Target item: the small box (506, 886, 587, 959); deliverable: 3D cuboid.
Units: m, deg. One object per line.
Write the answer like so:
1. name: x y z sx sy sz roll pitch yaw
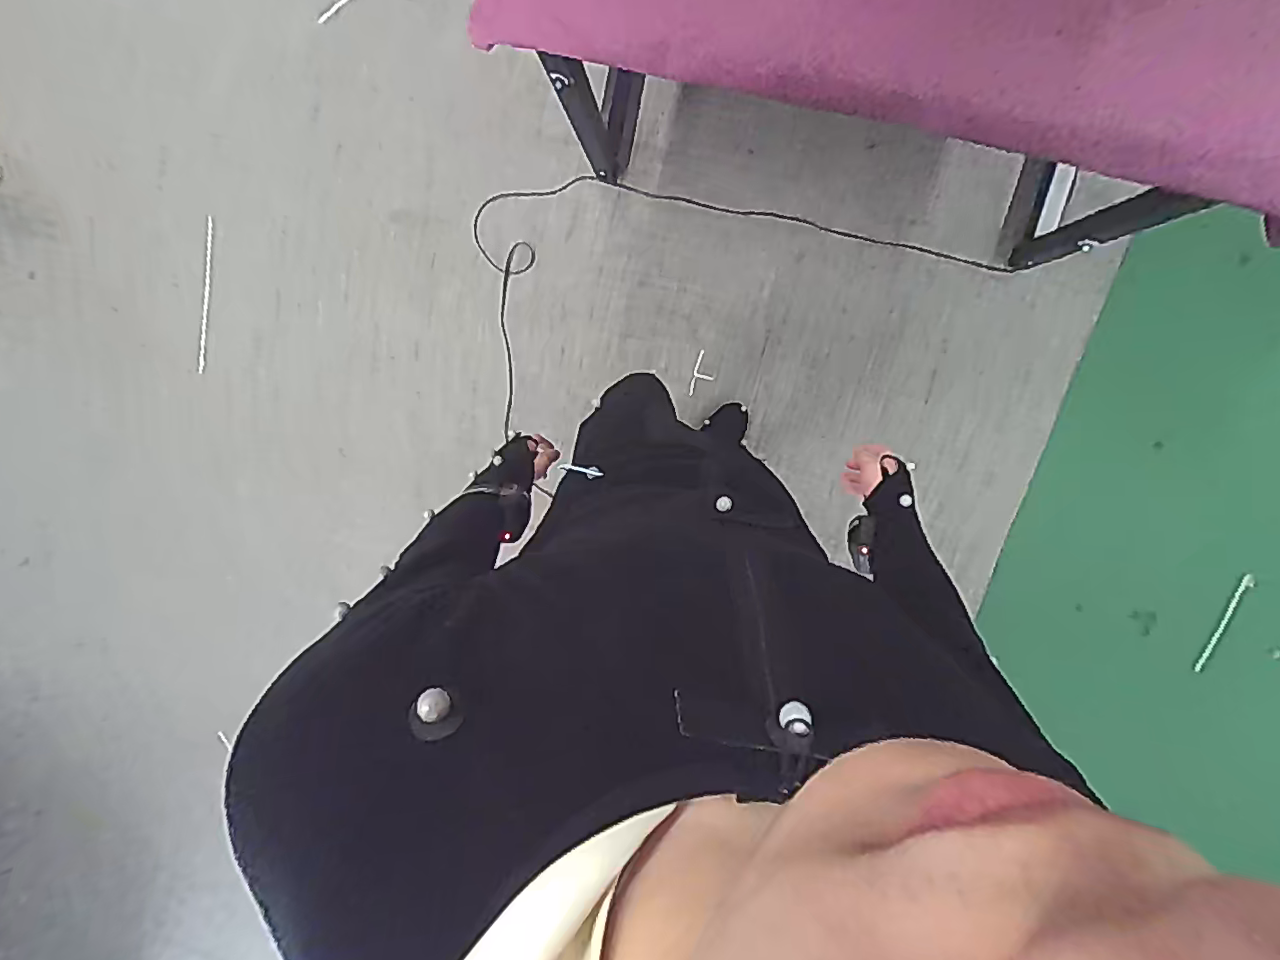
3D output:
1. small box: -0.242 1.191 1.366 0.168 0.176 0.179 17 101 3
